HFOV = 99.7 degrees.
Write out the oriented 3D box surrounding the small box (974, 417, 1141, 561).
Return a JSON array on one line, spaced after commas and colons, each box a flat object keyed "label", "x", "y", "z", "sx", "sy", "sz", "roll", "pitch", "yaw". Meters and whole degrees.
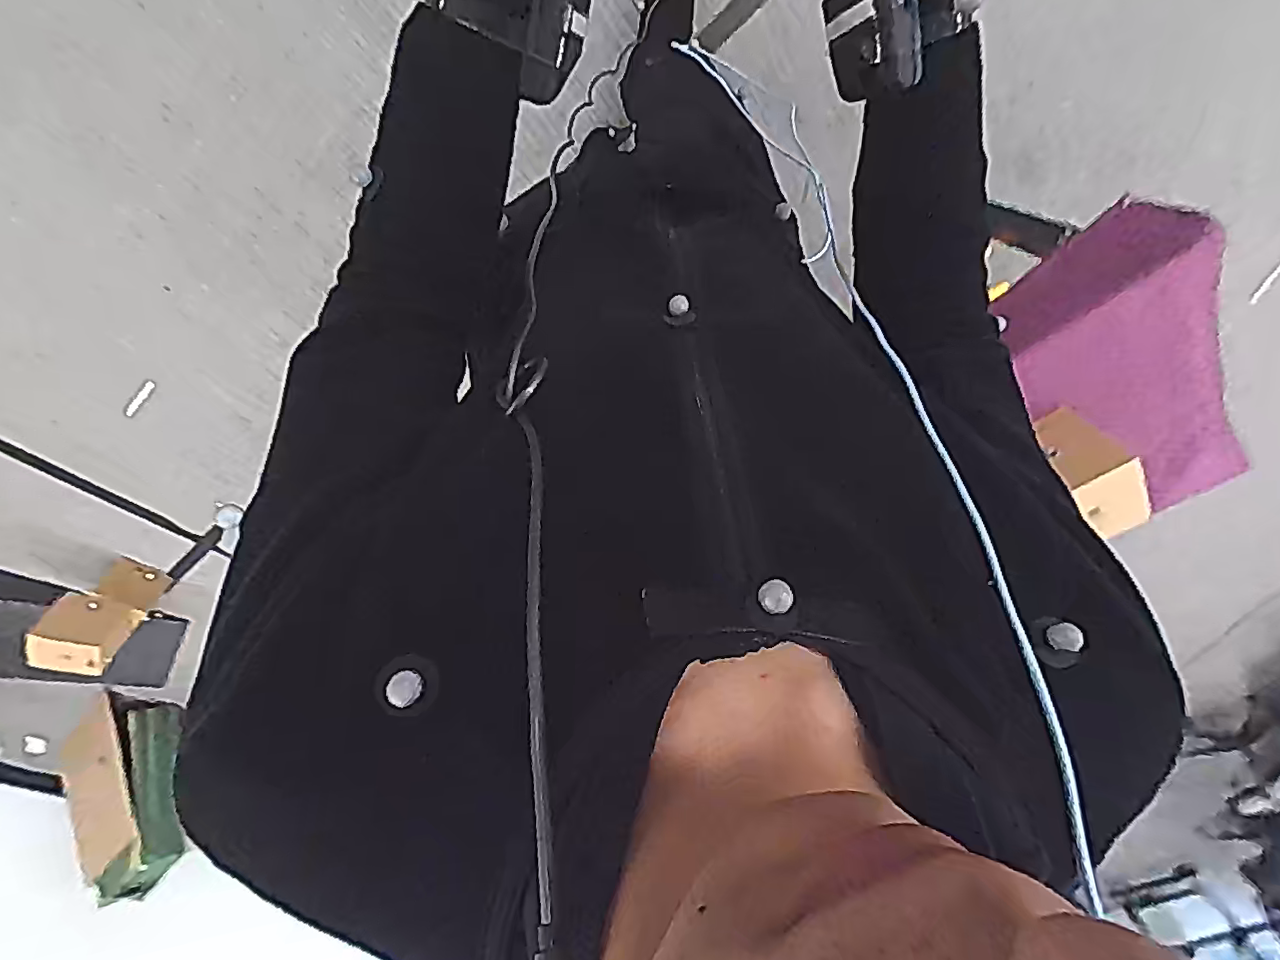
[{"label": "small box", "x": 0.749, "y": 0.008, "z": 0.984, "sx": 0.168, "sy": 0.176, "sz": 0.179, "roll": -33, "pitch": 124, "yaw": 18}]
